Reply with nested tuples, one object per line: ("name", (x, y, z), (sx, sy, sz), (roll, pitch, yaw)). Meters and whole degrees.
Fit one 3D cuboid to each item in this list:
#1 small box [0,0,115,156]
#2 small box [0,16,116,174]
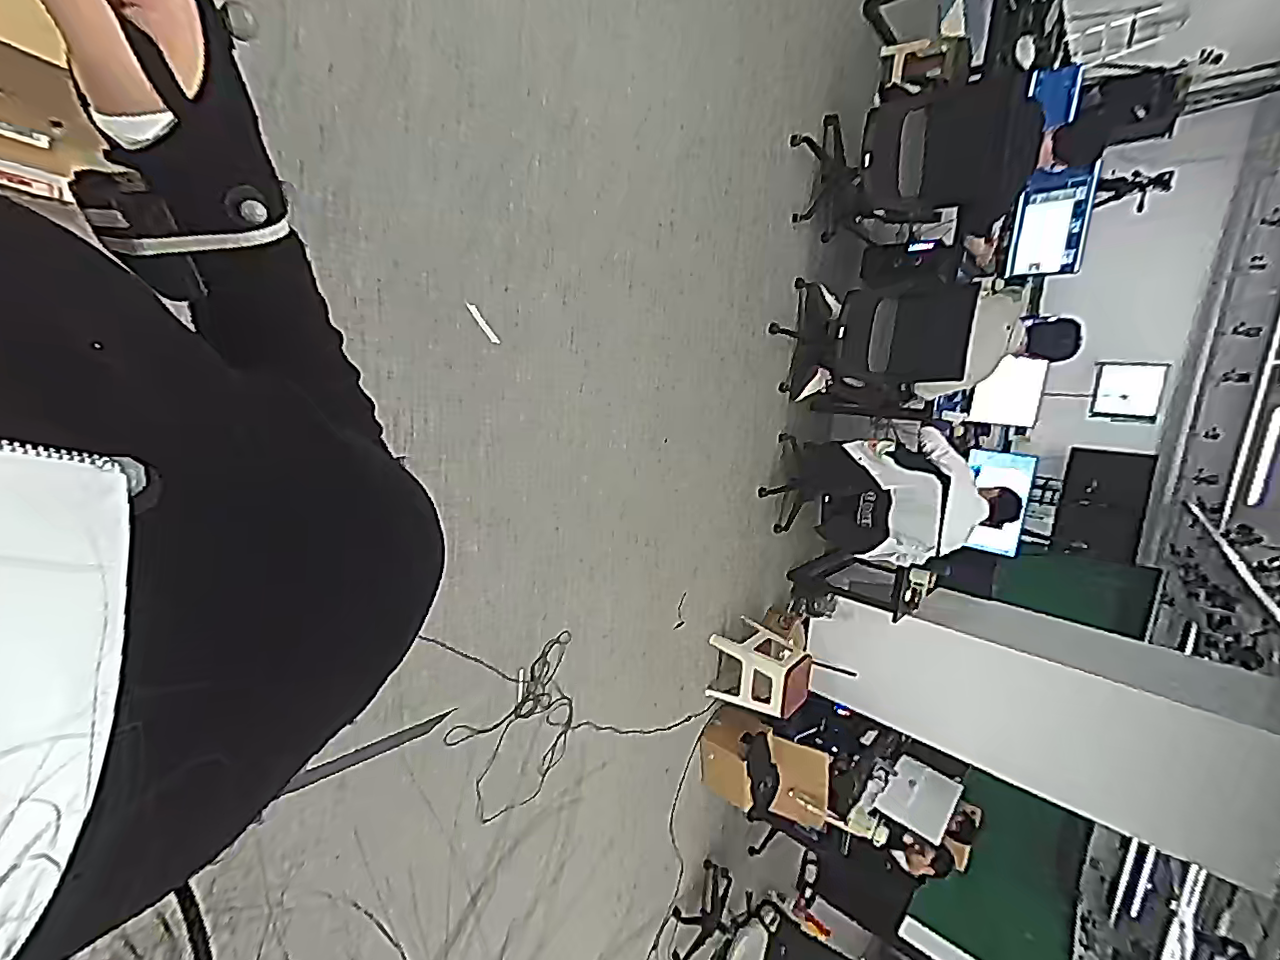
("small box", (-0.587, -0.417, 0.468), (0.168, 0.176, 0.179), (2, 100, -53))
("small box", (-0.702, -0.452, 0.583), (0.179, 0.176, 0.168), (-3, 104, -51))
